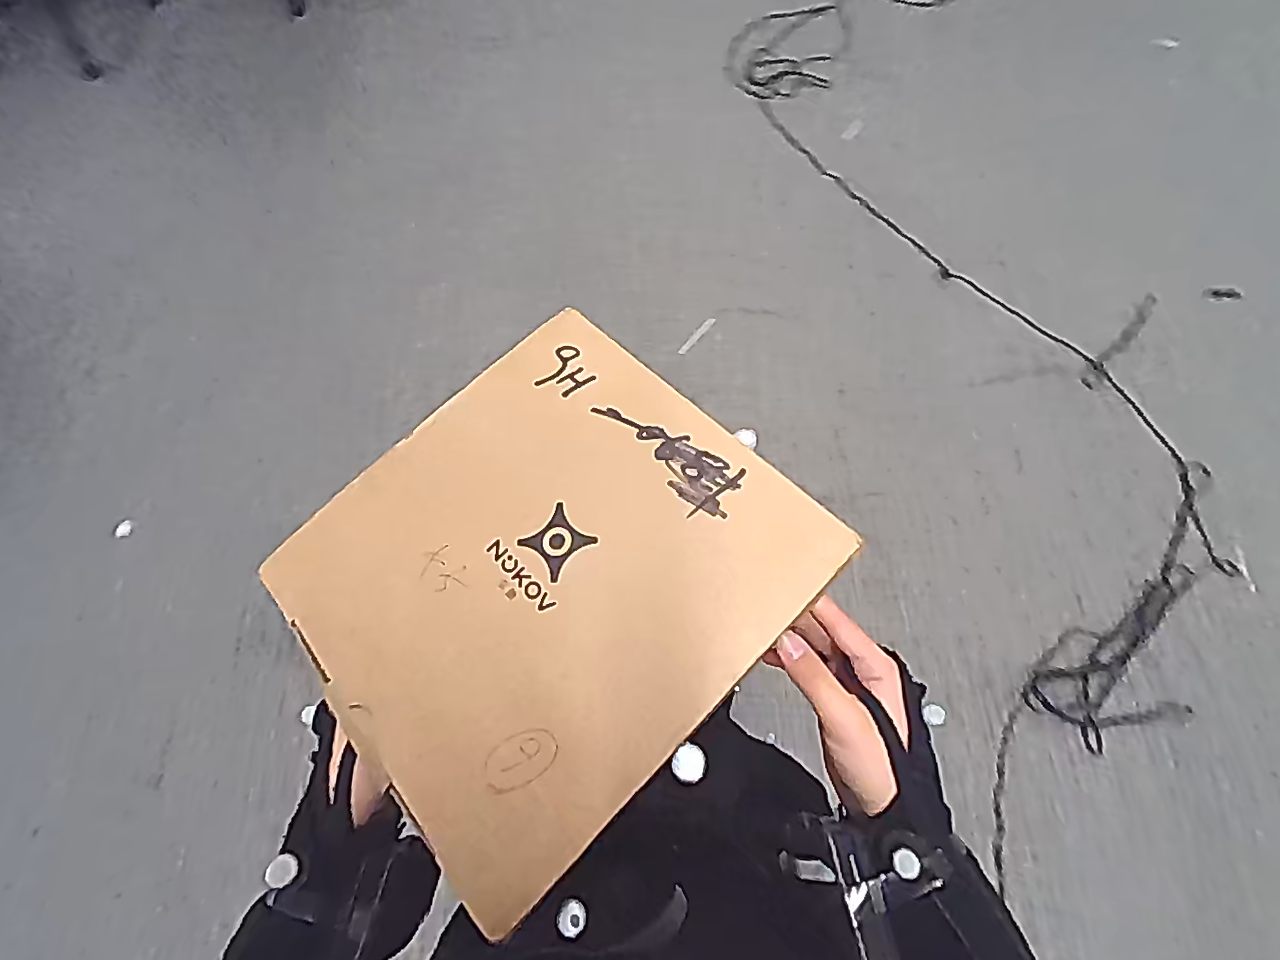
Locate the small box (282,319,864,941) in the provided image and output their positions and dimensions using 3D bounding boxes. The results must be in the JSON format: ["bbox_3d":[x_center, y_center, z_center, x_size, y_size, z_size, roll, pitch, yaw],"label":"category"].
[{"bbox_3d":[-0.021,0.064,0.279,0.179,0.176,0.168,-43,68,-10],"label":"small box"}]
